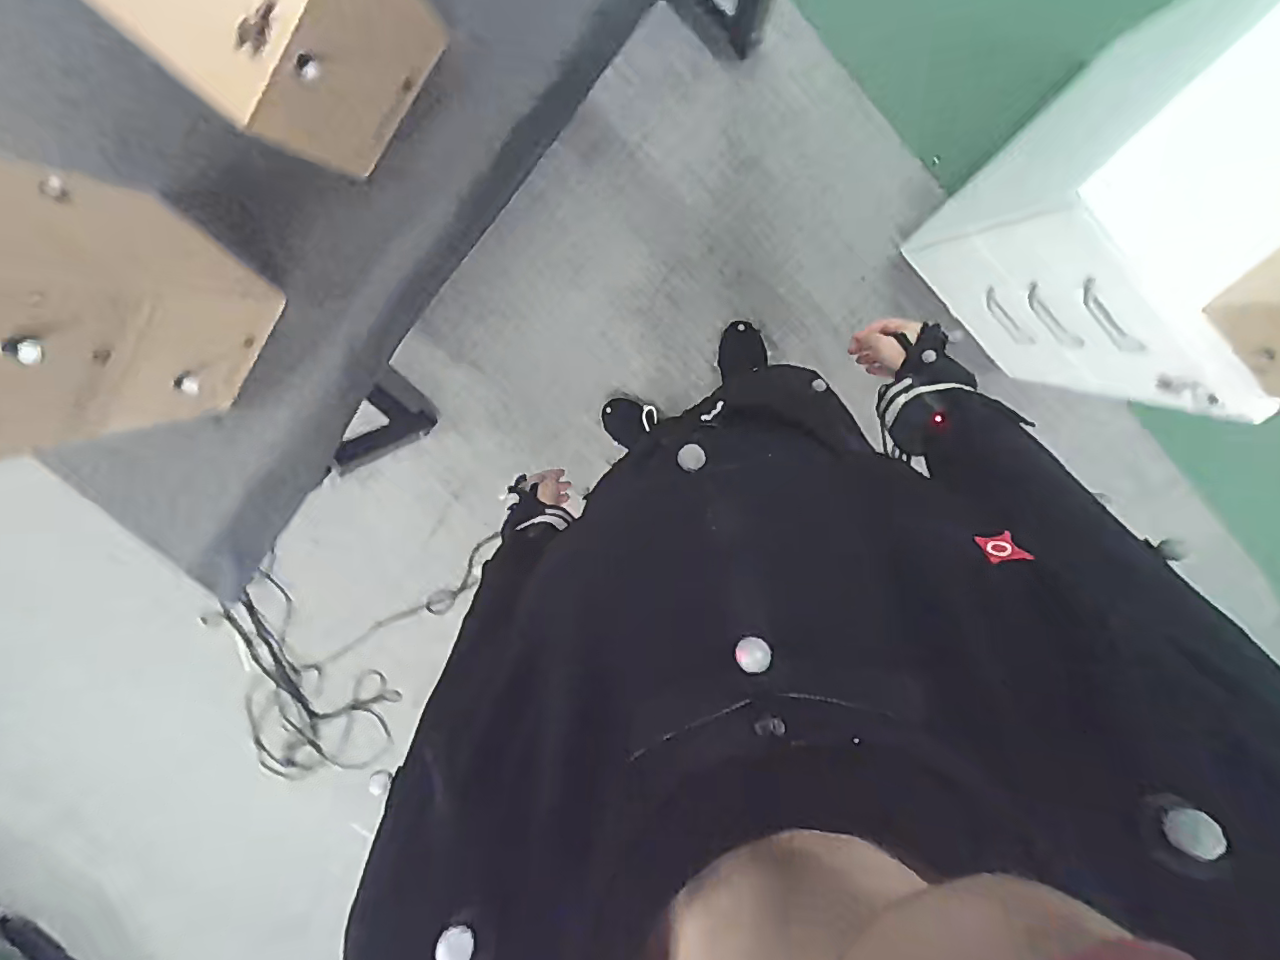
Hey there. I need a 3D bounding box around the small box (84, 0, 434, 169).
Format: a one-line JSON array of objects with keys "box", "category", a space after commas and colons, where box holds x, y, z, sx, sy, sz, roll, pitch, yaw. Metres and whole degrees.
[{"box": [-0.314, -0.401, 0.452, 0.179, 0.176, 0.168, 40, 105, -7], "category": "small box"}]

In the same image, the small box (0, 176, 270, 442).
[{"box": [-0.523, -0.168, 0.536, 0.179, 0.176, 0.168, 38, 105, -7], "category": "small box"}]
